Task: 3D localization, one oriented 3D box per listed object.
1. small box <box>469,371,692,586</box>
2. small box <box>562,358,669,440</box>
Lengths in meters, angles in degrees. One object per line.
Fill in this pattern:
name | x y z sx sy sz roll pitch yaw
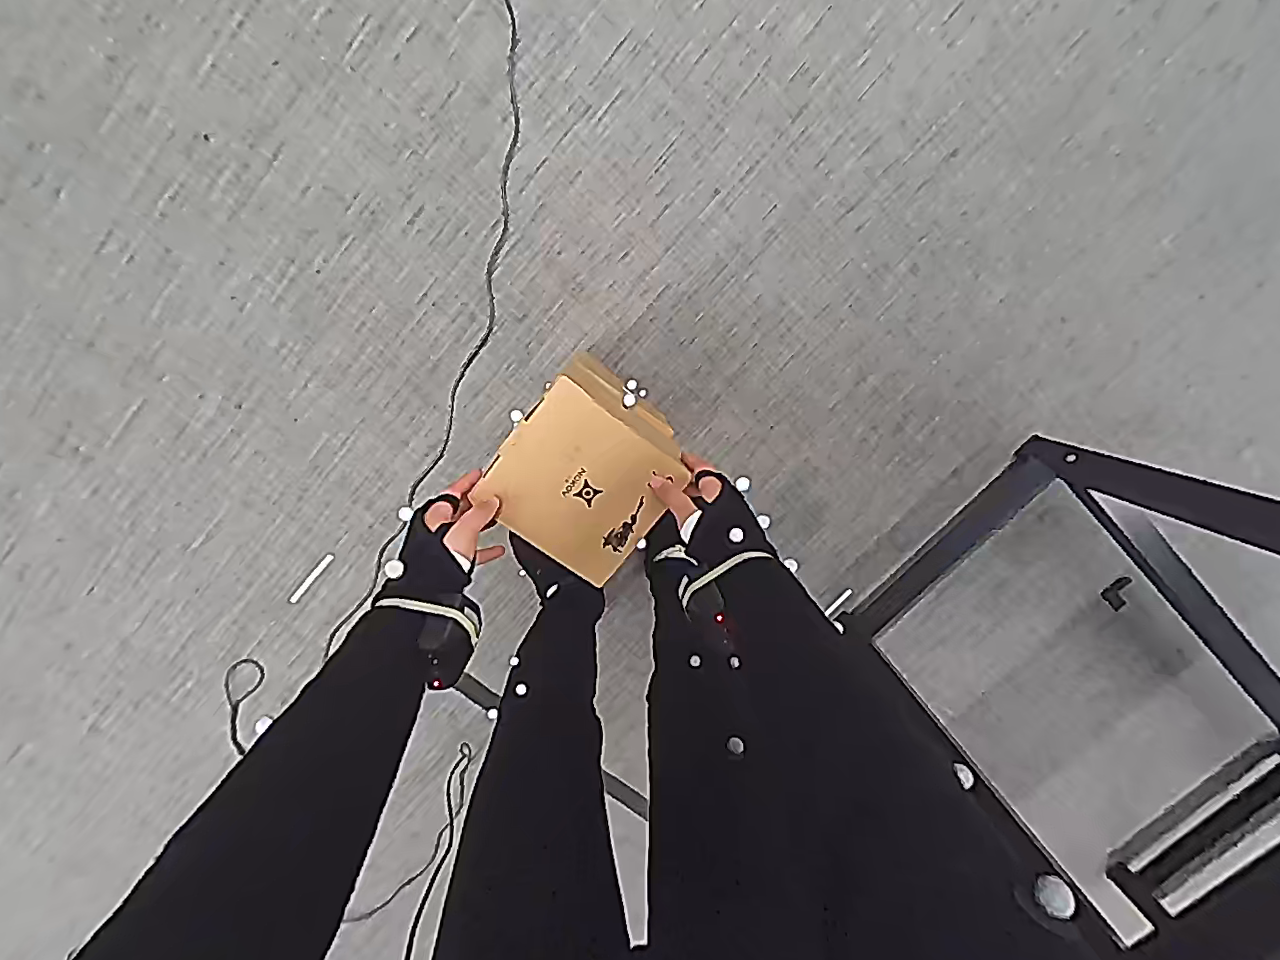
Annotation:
small box | -0.067 -0.014 0.638 0.179 0.176 0.168 37 100 -13
small box | -0.079 -0.061 0.795 0.168 0.176 0.179 34 100 -13
